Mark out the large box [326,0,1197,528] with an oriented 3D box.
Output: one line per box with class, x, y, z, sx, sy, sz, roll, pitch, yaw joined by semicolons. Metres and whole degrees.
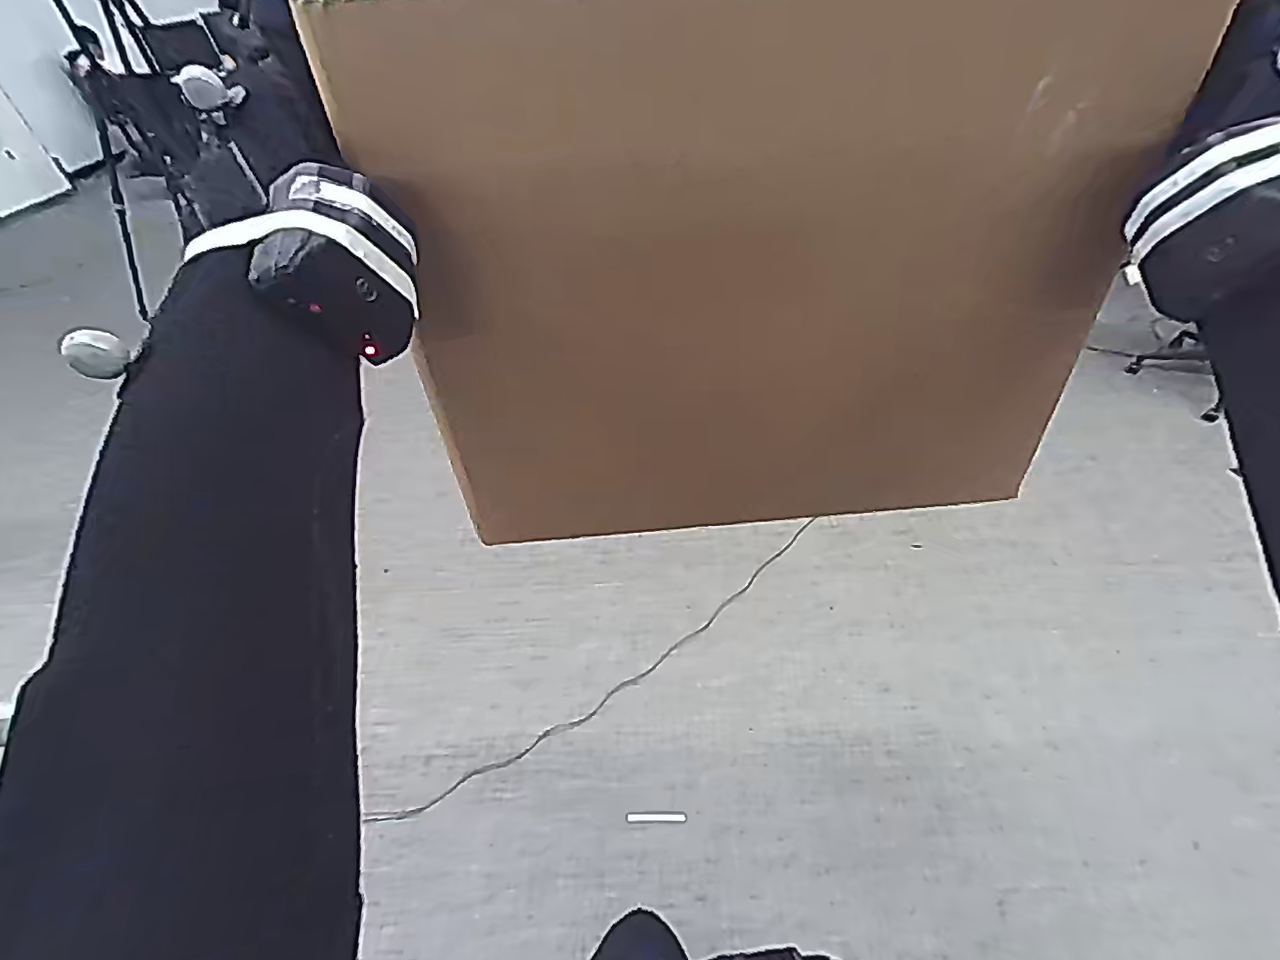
large box;0.059;-0.186;0.439;0.408;0.320;0.320;-5;37;0
